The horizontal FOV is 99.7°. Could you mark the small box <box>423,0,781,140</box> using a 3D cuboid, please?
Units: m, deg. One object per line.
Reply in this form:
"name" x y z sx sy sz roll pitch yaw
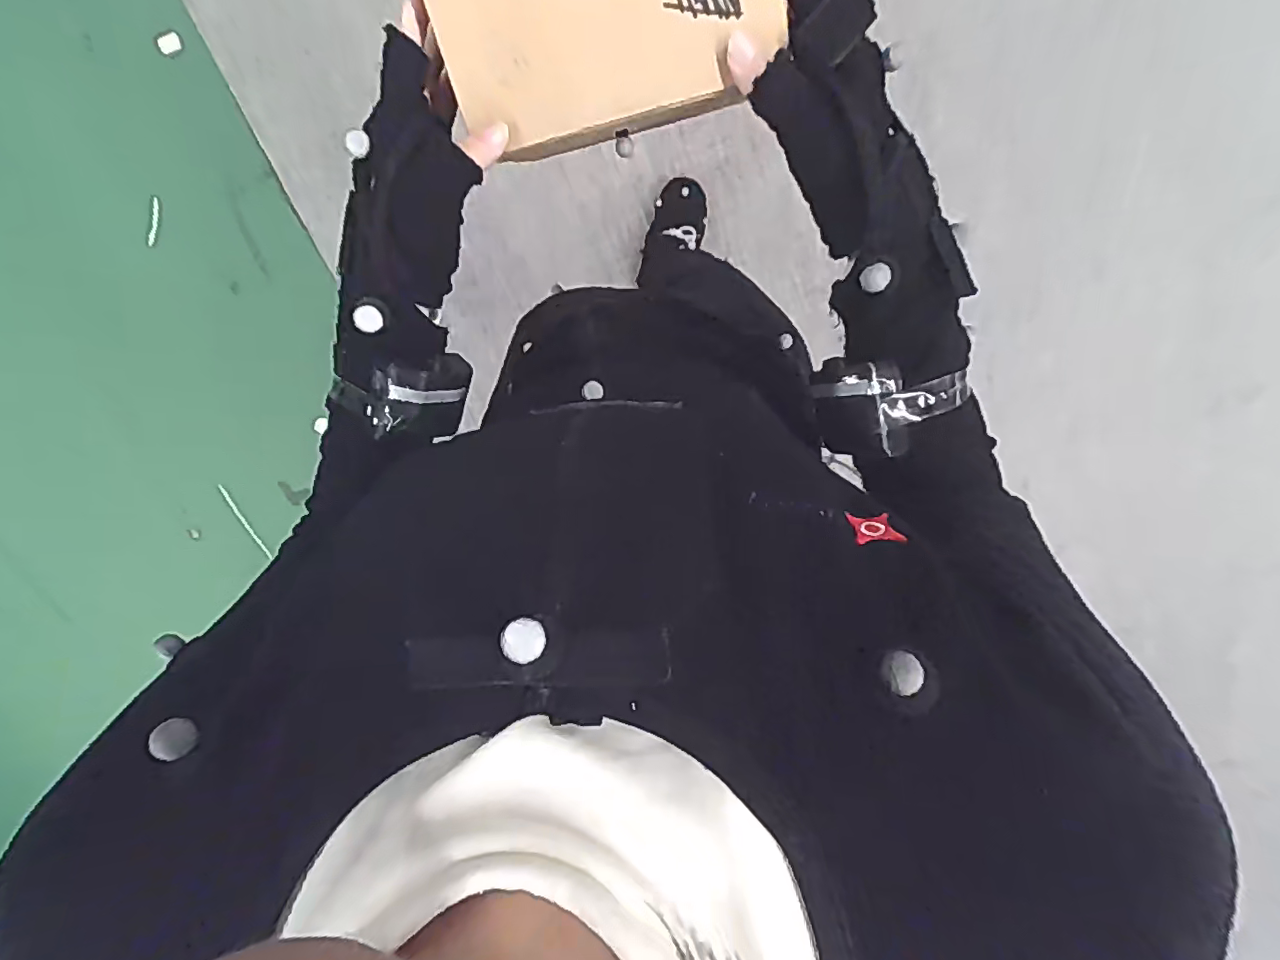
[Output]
"small box" -0.025 -0.311 0.315 0.179 0.176 0.168 -8 119 7
